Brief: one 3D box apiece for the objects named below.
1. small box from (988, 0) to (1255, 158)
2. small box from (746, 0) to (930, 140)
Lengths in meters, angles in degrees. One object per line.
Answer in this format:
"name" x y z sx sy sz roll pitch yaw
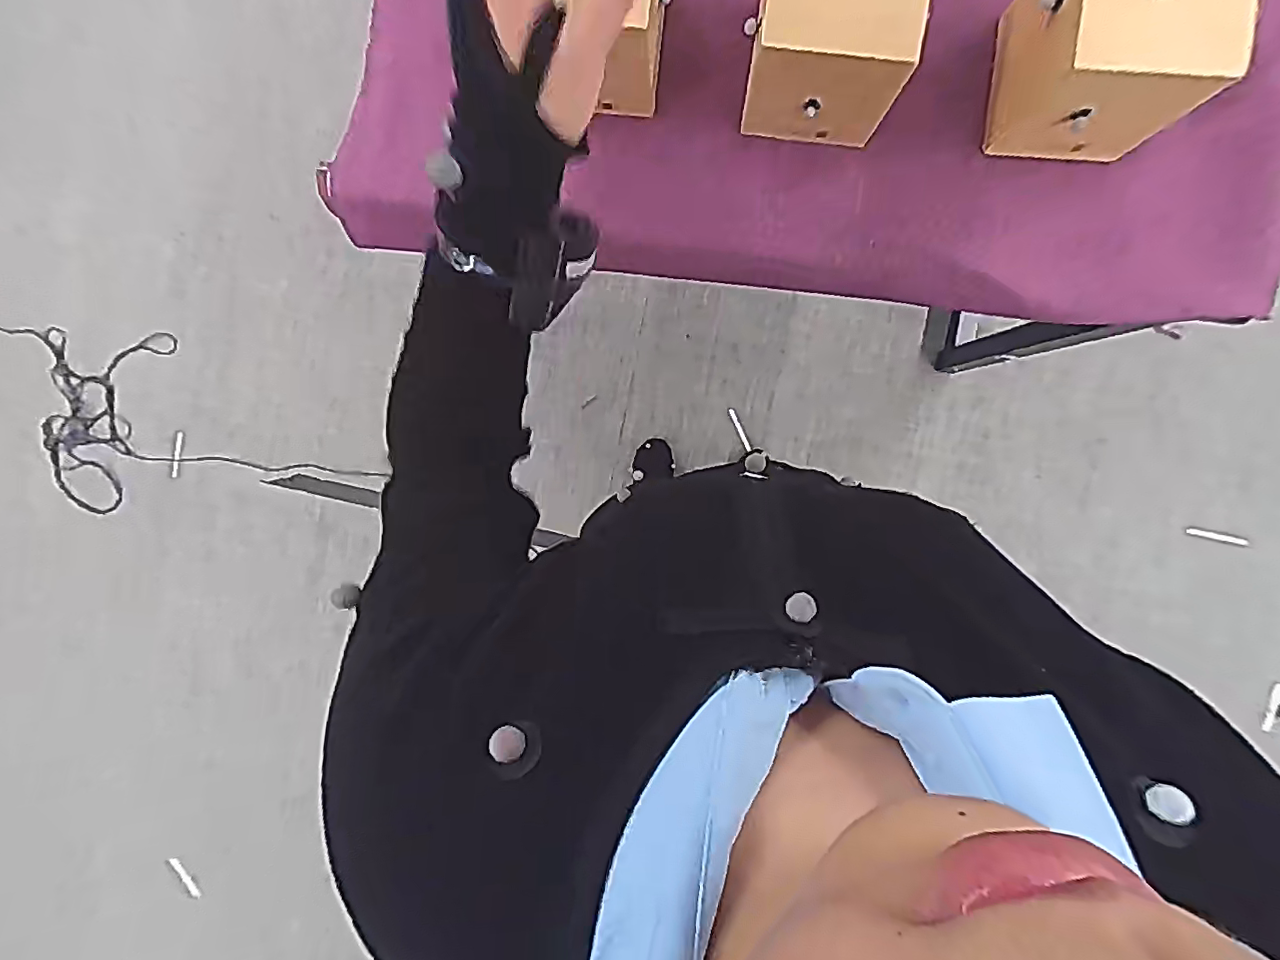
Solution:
"small box" 0.533 -0.500 0.618 0.168 0.176 0.179 6 93 4
"small box" 0.226 -0.535 0.634 0.168 0.176 0.179 9 95 2
